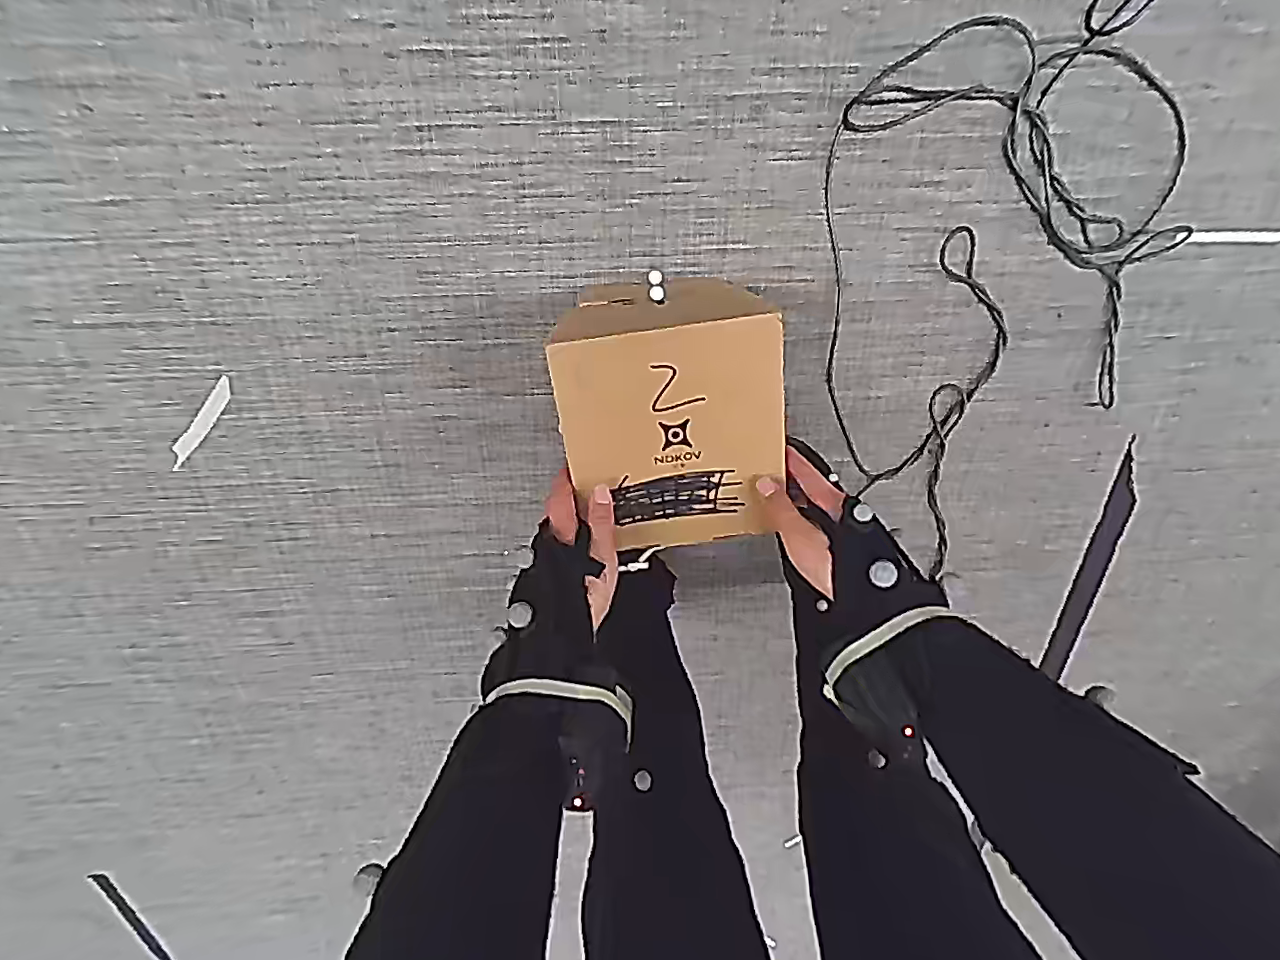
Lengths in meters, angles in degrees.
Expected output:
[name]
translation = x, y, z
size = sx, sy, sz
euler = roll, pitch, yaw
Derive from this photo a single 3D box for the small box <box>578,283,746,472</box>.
[small box]
translation = 0.022, -0.125, 0.628
size = 0.168, 0.176, 0.179
euler = -4, 115, -1
